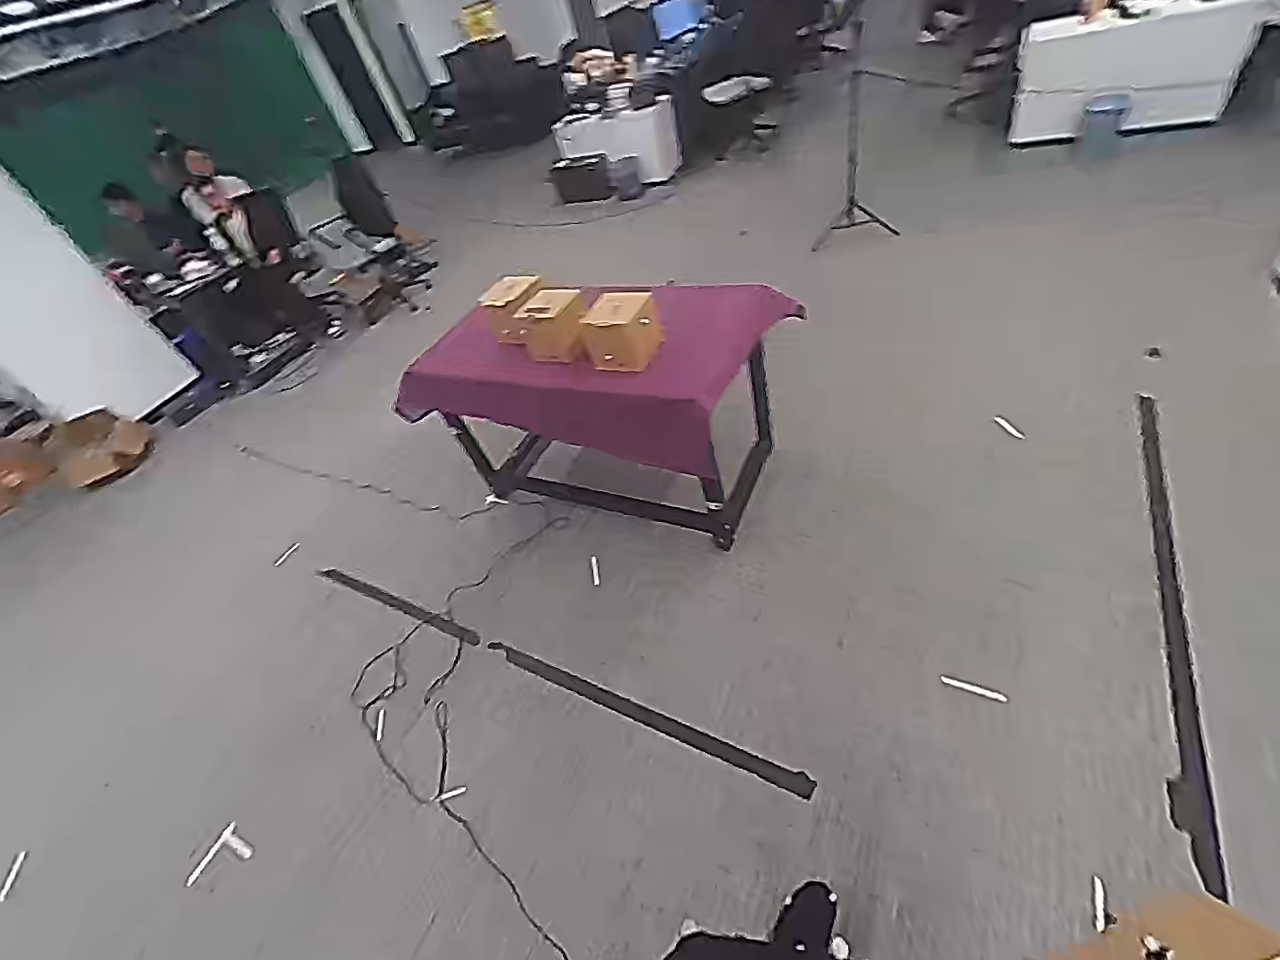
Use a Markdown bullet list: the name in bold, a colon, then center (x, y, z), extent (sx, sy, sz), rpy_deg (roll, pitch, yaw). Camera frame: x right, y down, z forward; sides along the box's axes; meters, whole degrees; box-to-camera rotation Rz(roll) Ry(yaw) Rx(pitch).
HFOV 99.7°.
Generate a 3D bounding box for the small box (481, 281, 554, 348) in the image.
- **small box**: center (-0.432, -0.601, 1.957), extent (0.168, 0.176, 0.179), rpy_deg (10, 51, 29)

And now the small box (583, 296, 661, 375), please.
- **small box**: center (-0.047, -0.445, 1.663), extent (0.168, 0.176, 0.179), rpy_deg (9, 50, 27)

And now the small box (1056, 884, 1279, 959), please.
- **small box**: center (0.487, 0.477, 0.442), extent (0.179, 0.176, 0.168), rpy_deg (-35, 59, 6)
